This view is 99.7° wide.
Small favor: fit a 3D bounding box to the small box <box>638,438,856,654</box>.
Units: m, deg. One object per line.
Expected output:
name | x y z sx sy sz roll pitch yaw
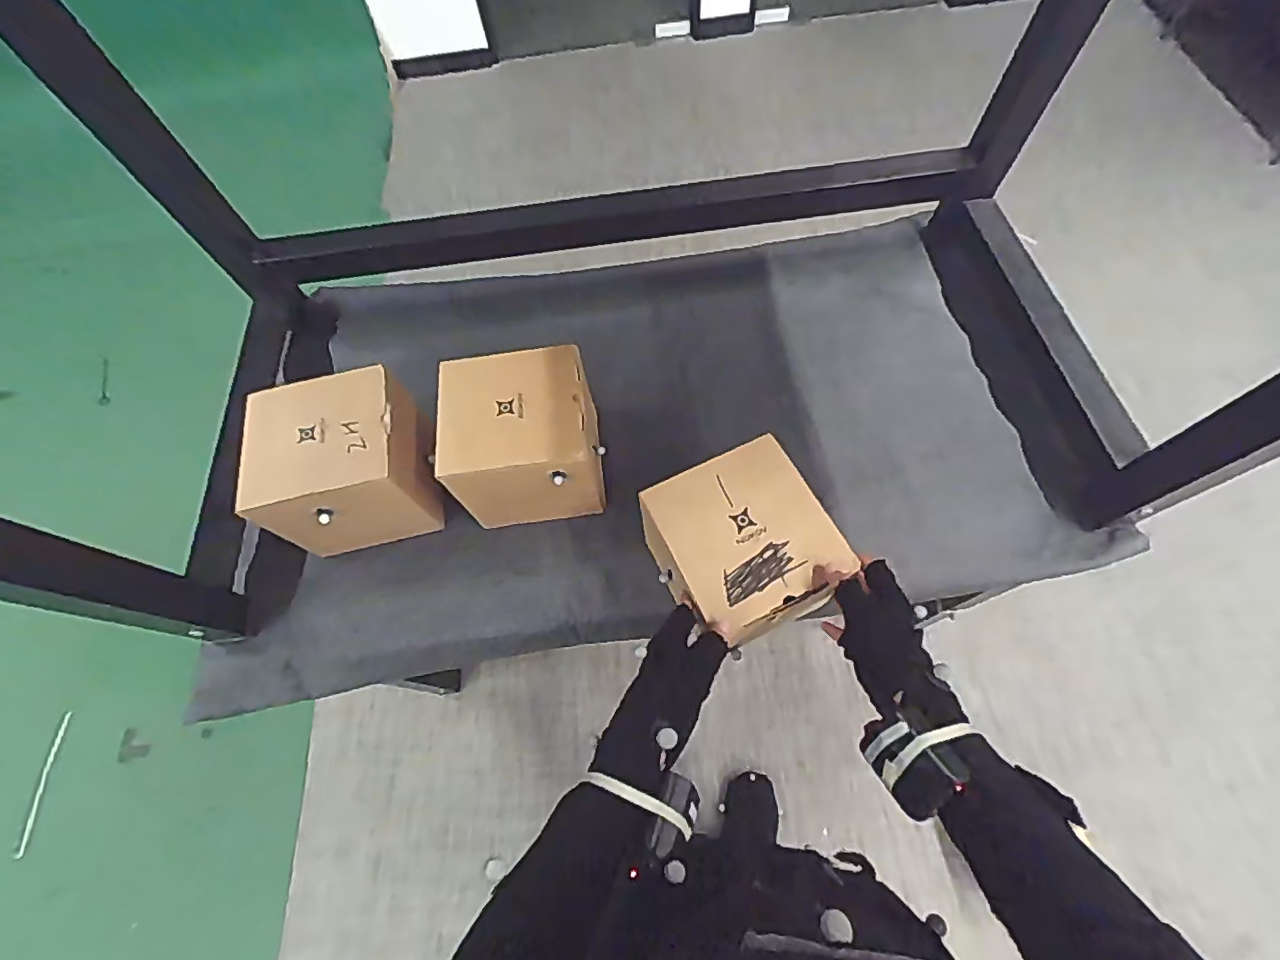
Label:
small box | 0.111 0.087 0.624 0.168 0.176 0.179 -23 65 -7
